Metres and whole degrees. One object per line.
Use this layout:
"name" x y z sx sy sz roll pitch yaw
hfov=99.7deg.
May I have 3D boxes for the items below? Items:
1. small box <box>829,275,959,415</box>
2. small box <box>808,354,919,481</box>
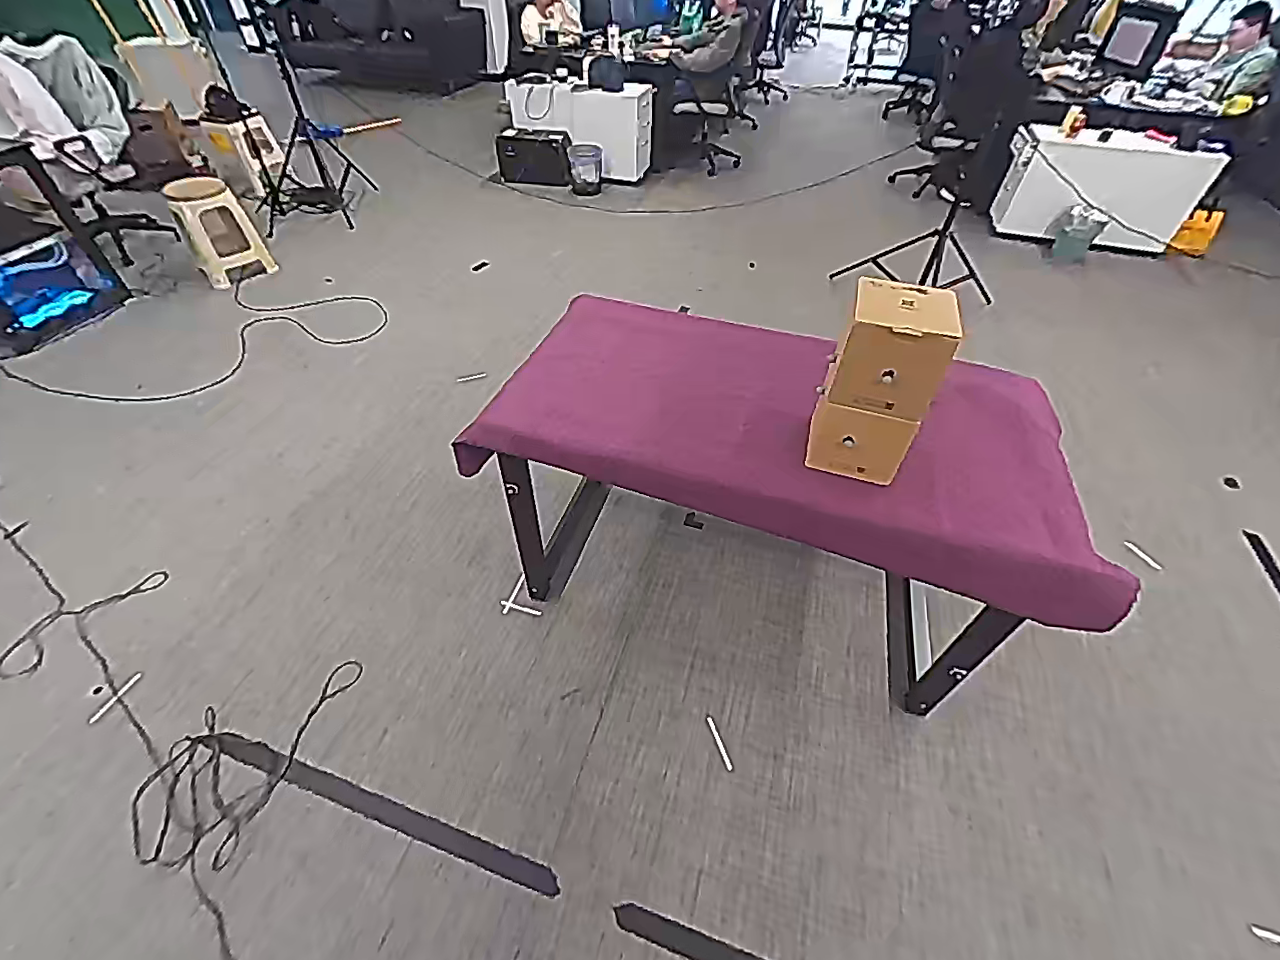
"small box" 0.448 -0.240 0.971 0.168 0.176 0.179 14 47 12
"small box" 0.442 -0.123 1.086 0.168 0.176 0.179 14 47 11
